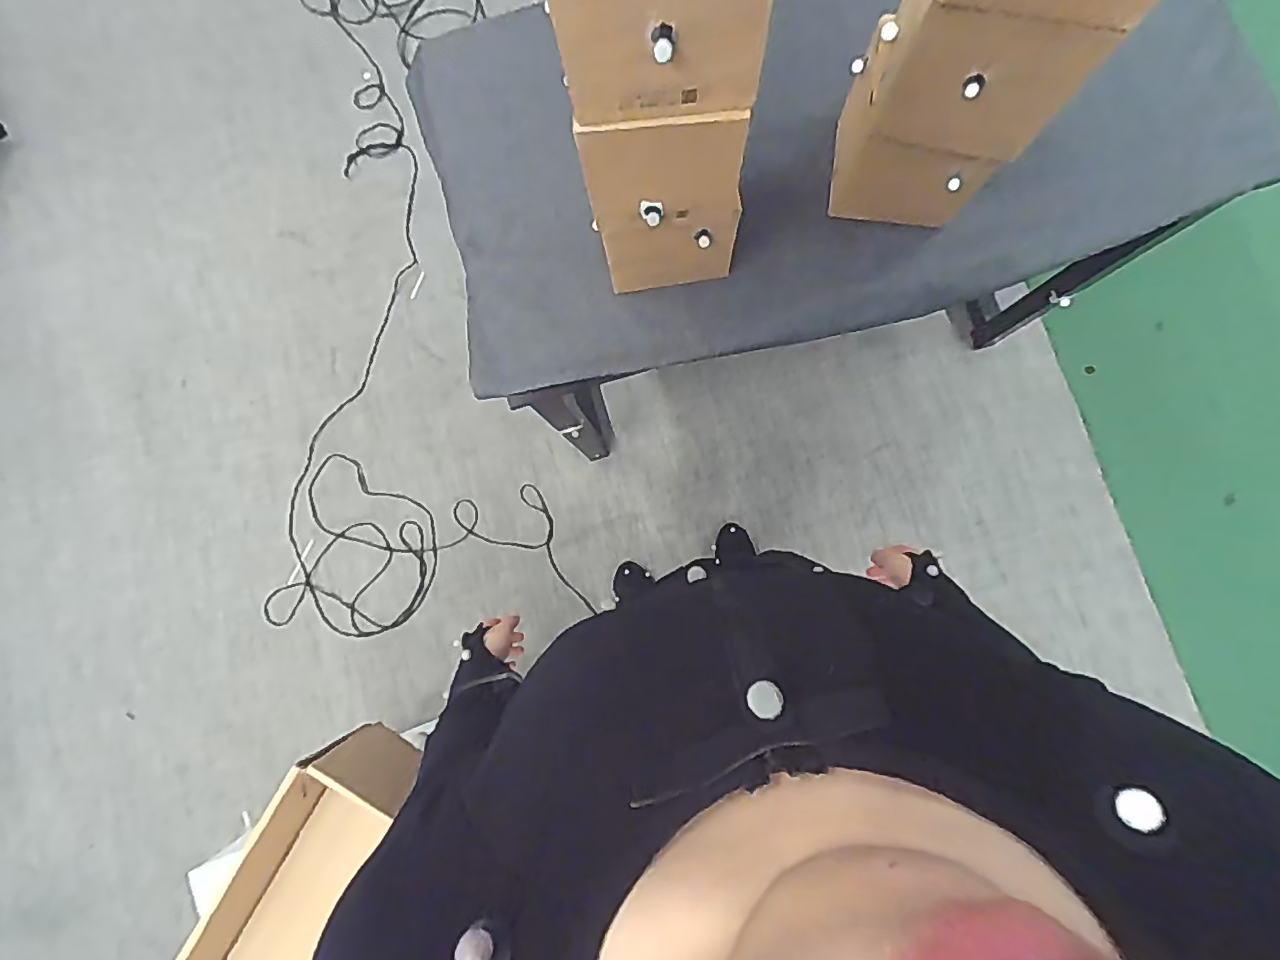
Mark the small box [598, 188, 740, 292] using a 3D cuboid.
[{"bbox_3d":[0.031,-0.382,0.747,0.179,0.176,0.168,-8,82,3],"label":"small box"}]

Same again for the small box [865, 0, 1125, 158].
[{"bbox_3d":[0.367,-0.478,0.570,0.179,0.176,0.168,15,84,5],"label":"small box"}]

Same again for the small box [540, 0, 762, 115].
[{"bbox_3d":[0.008,-0.423,0.424,0.168,0.176,0.179,-4,83,4],"label":"small box"}]

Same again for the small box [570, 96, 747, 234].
[{"bbox_3d":[0.020,-0.398,0.586,0.168,0.176,0.179,-3,84,5],"label":"small box"}]

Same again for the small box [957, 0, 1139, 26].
[{"bbox_3d":[0.354,-0.497,0.409,0.179,0.176,0.168,13,83,4],"label":"small box"}]
